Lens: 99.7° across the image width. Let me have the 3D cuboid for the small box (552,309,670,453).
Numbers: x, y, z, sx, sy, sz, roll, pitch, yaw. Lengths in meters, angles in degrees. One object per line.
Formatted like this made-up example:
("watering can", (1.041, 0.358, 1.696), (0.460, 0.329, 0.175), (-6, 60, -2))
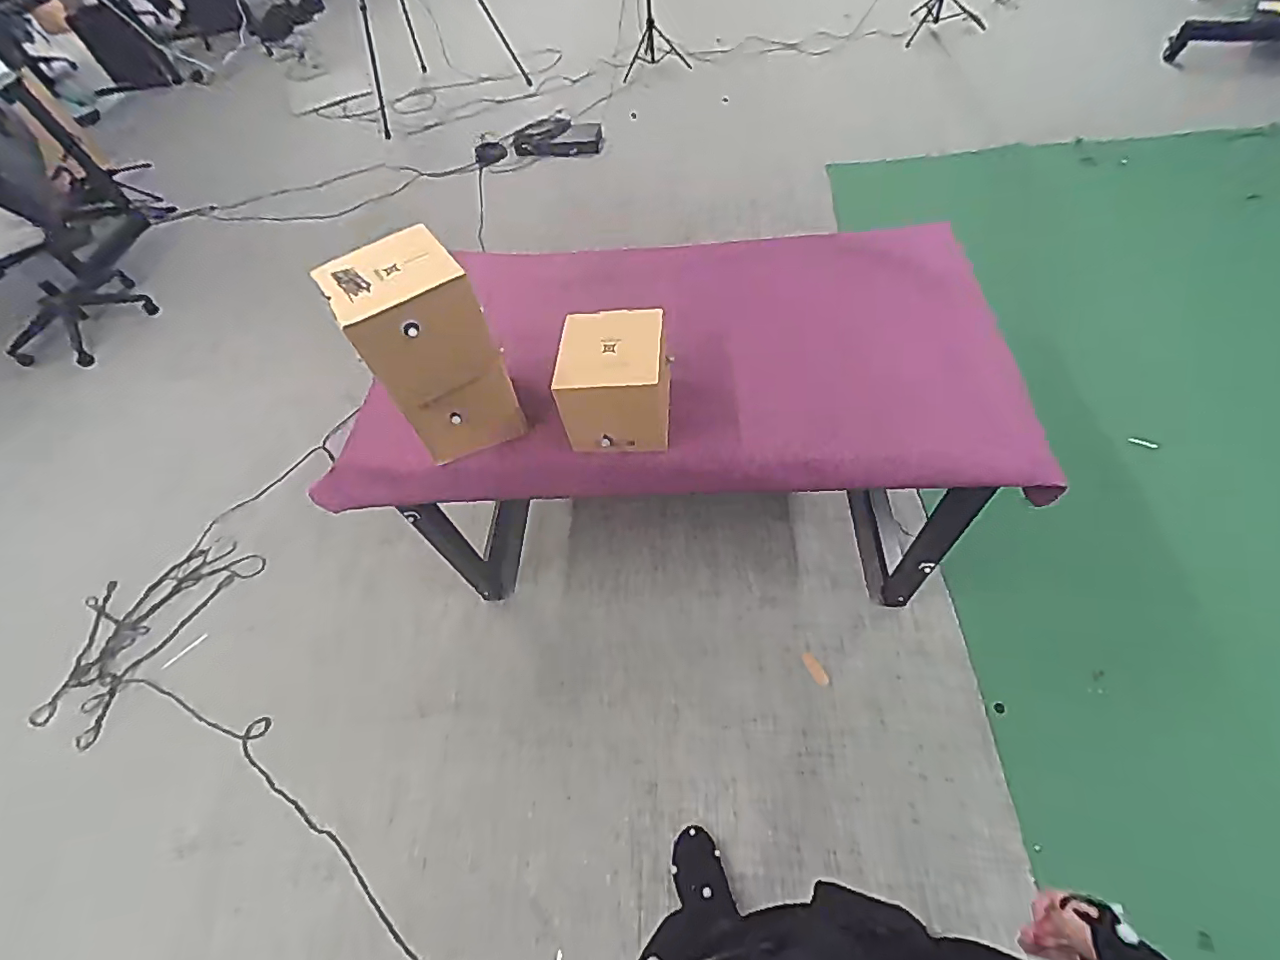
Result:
("small box", (-0.038, -0.165, 0.919), (0.168, 0.176, 0.179), (-1, 56, 8))

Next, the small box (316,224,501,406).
("small box", (-0.337, -0.242, 0.809), (0.179, 0.176, 0.168), (-31, 58, -15))

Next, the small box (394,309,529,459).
("small box", (-0.317, -0.163, 0.953), (0.179, 0.176, 0.168), (-22, 56, -7))
